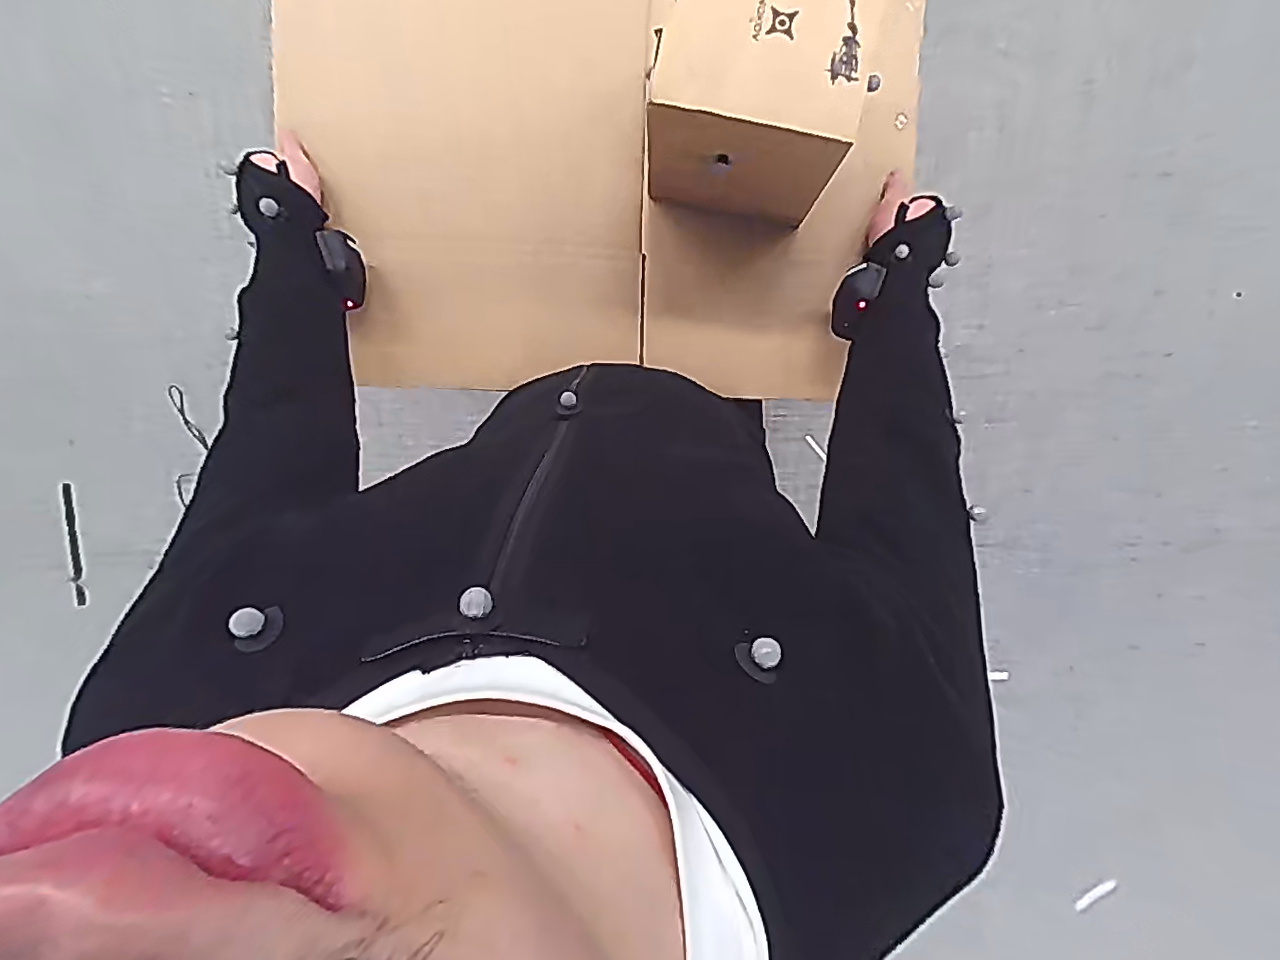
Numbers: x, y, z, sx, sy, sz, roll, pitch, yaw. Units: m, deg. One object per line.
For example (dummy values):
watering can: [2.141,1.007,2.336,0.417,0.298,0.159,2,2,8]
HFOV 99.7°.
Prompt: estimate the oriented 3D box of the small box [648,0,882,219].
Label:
small box: [0.110,-0.380,0.526,0.179,0.176,0.168,12,94,2]
